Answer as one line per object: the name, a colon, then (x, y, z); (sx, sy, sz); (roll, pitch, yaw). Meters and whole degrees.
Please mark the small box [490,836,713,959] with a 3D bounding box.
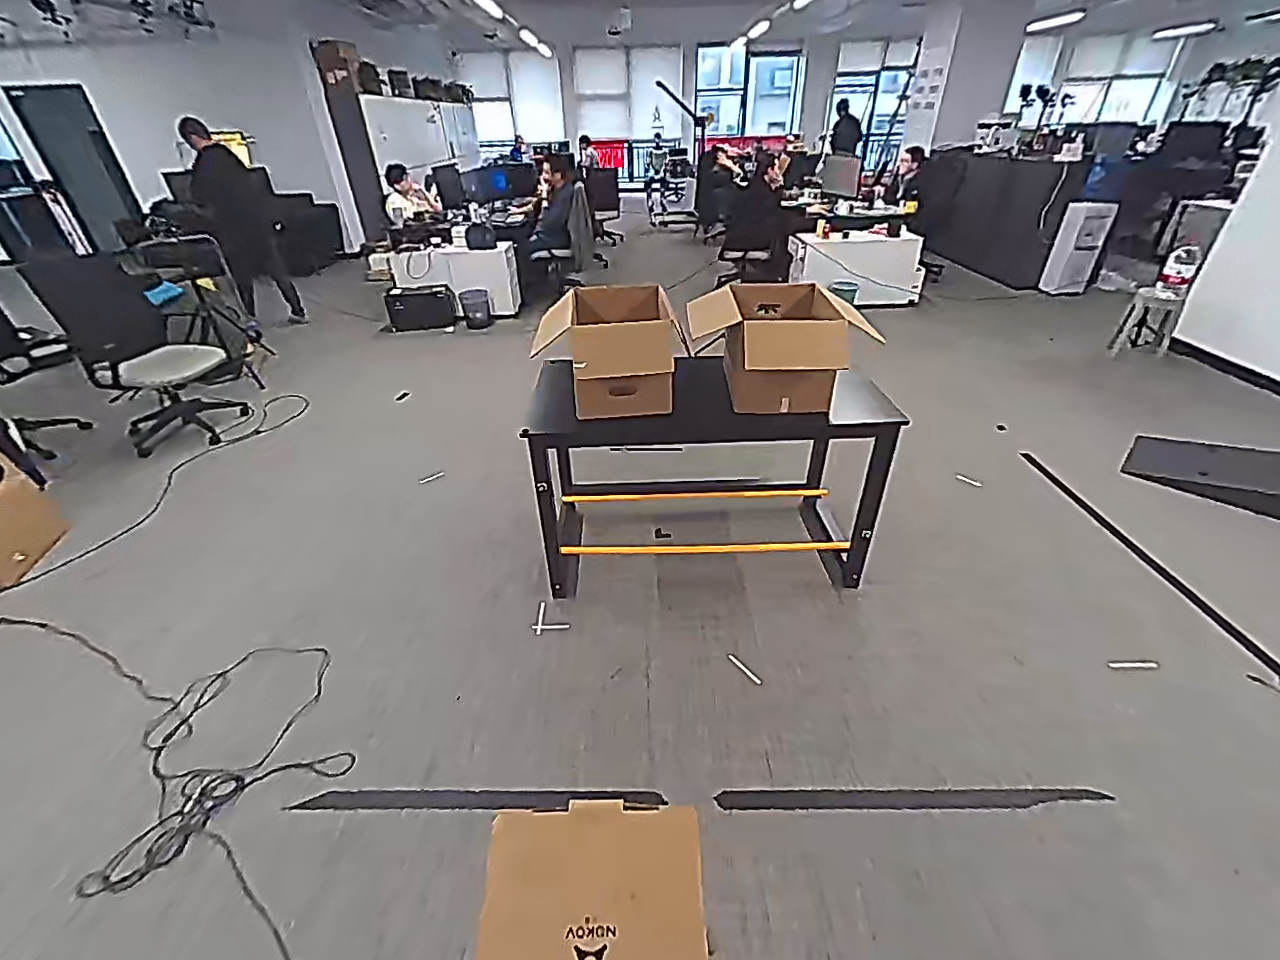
small box: (-0.027, 0.410, 0.444); (0.168, 0.176, 0.179); (-2, 50, 0)
